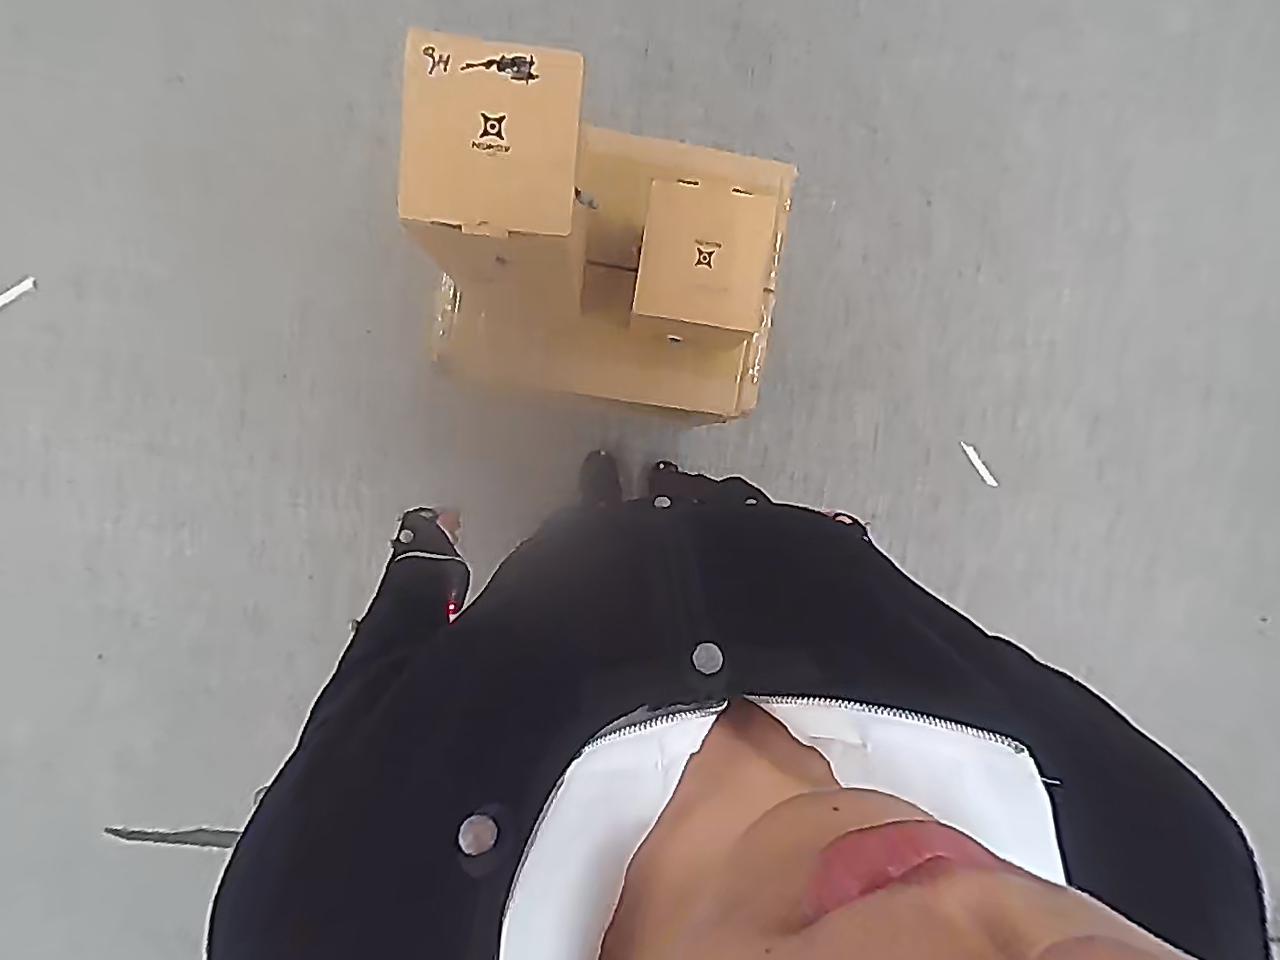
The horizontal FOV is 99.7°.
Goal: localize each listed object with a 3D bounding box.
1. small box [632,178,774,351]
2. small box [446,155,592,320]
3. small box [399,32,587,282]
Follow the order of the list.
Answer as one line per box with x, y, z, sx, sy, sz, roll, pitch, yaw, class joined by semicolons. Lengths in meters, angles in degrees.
0.080;-0.295;0.777;0.168;0.176;0.179;8;95;-2;small box
-0.160;-0.340;0.759;0.168;0.176;0.179;6;94;-5;small box
-0.148;-0.331;0.595;0.168;0.176;0.179;5;94;-4;small box
